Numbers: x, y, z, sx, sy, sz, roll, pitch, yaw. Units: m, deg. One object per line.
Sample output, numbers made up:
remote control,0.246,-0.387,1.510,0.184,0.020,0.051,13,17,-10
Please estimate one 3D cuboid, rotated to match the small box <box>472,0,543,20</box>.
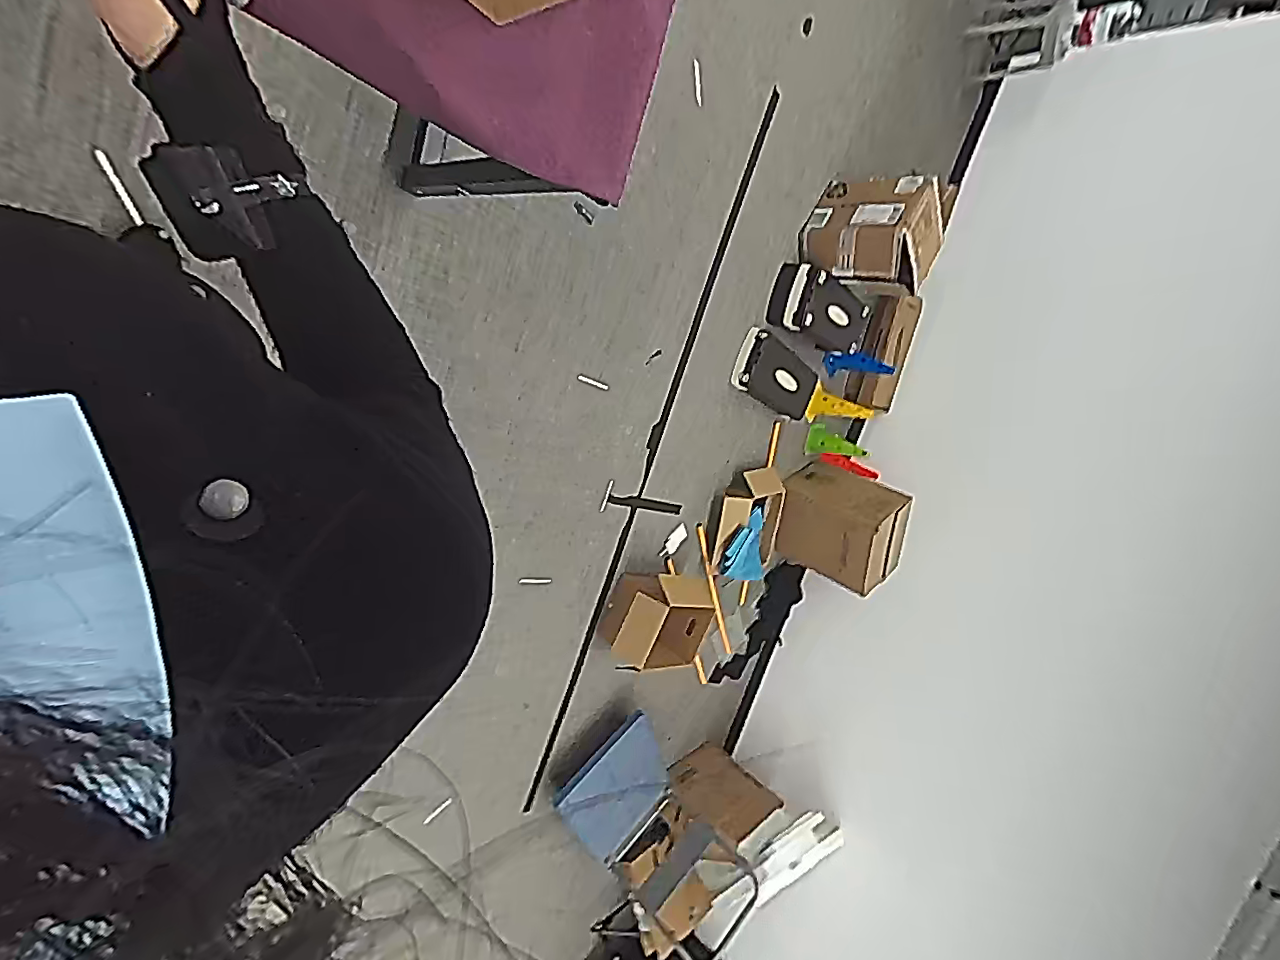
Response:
small box,-0.156,-0.656,0.587,0.168,0.176,0.179,9,103,-49
